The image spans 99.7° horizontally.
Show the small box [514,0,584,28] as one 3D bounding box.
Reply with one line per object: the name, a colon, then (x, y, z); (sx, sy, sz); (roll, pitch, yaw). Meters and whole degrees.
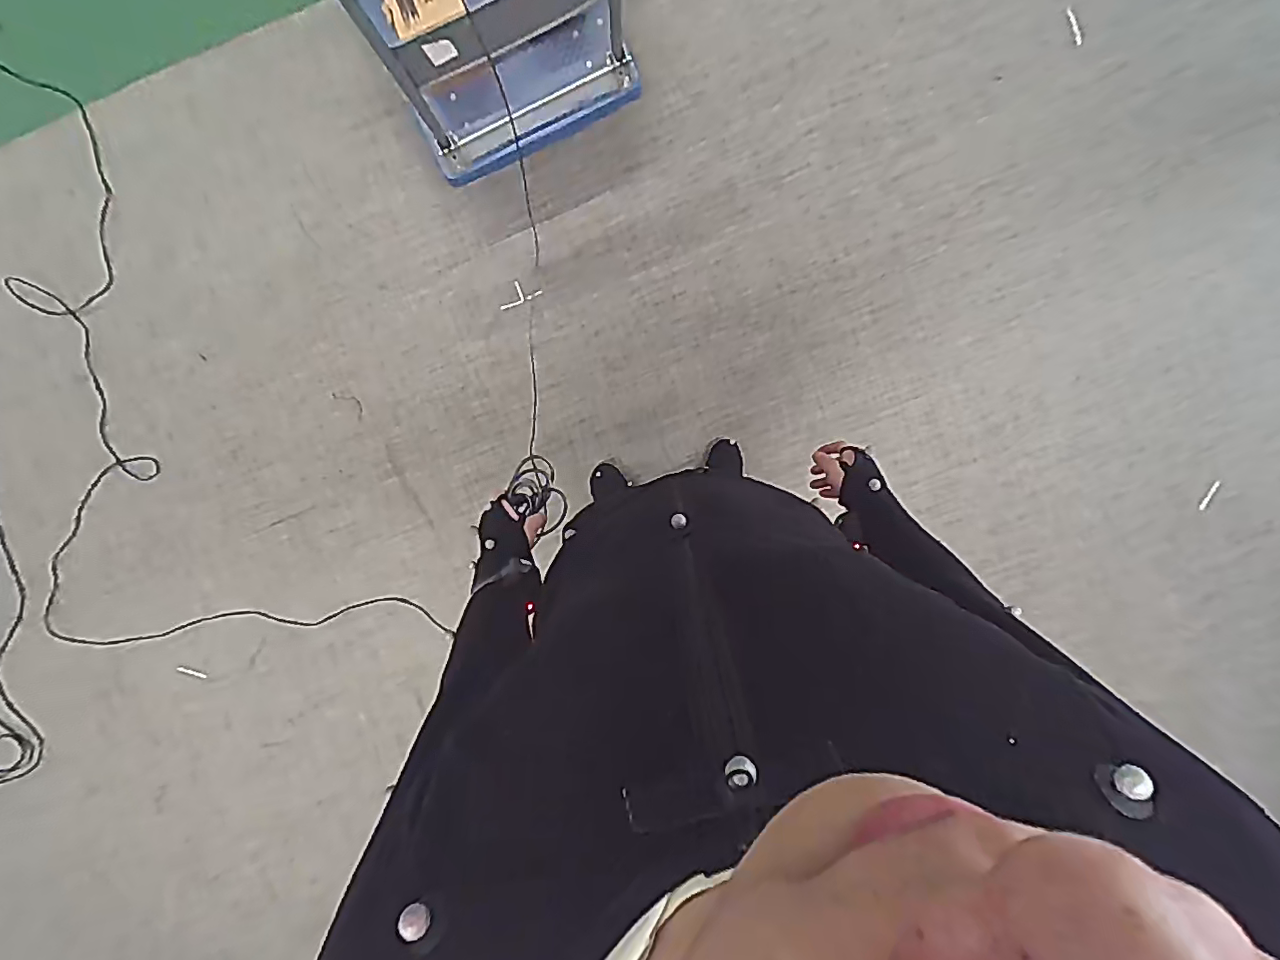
small box: (-0.245, -1.237, 1.275); (0.168, 0.176, 0.179); (-23, 95, 2)
